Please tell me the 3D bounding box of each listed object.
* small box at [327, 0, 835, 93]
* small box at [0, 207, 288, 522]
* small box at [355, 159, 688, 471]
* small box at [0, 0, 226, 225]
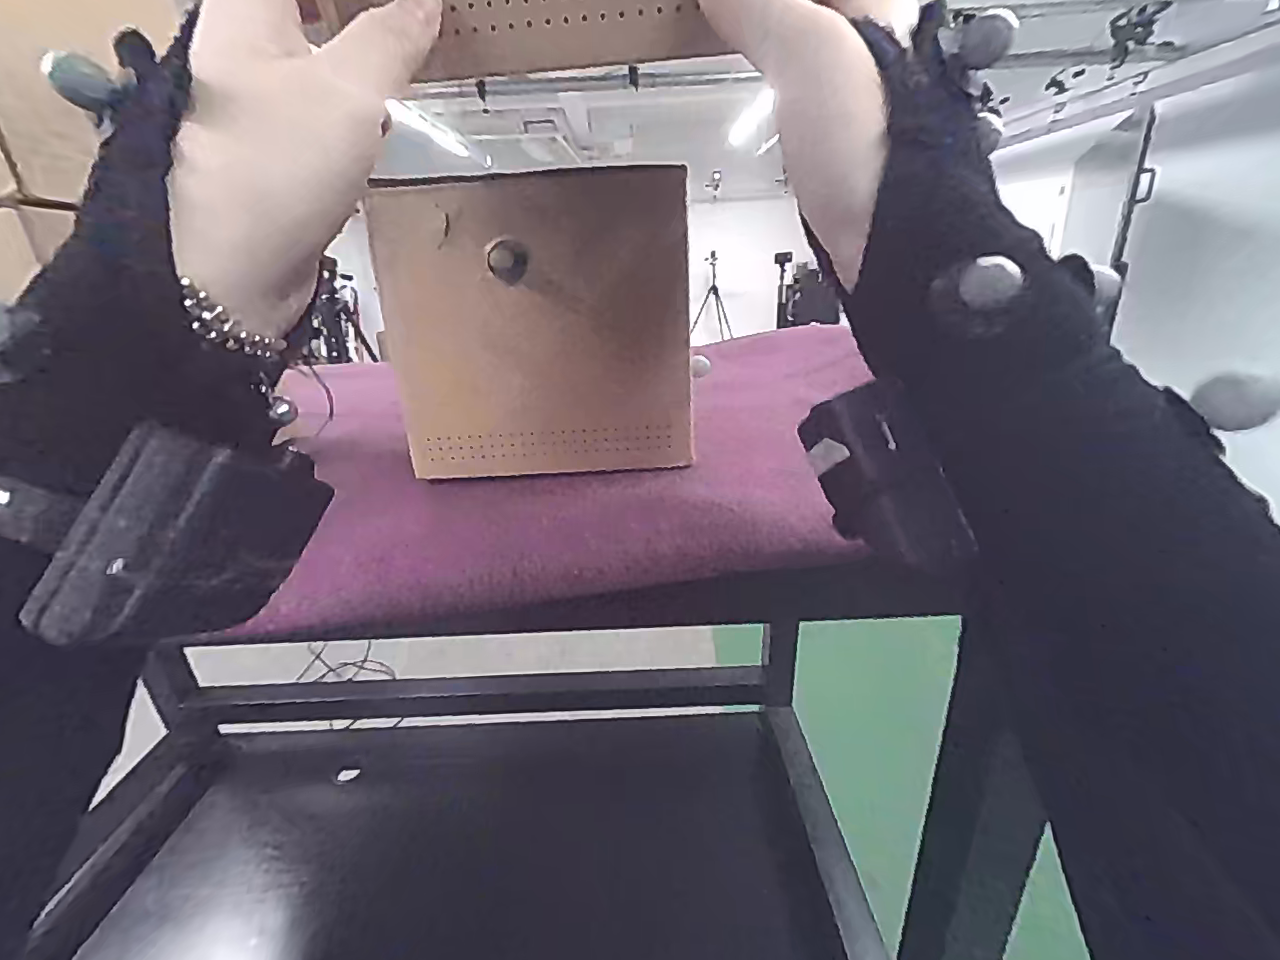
[{"bbox_3d":[-0.025,-0.254,0.191,0.179,0.176,0.168,-2,43,5],"label":"small box"},{"bbox_3d":[-0.380,-0.077,0.360,0.179,0.176,0.168,-4,22,-1],"label":"small box"},{"bbox_3d":[-0.059,-0.108,0.381,0.179,0.176,0.168,-2,20,2],"label":"small box"},{"bbox_3d":[-0.391,-0.229,0.301,0.179,0.176,0.168,-4,22,-3],"label":"small box"}]
